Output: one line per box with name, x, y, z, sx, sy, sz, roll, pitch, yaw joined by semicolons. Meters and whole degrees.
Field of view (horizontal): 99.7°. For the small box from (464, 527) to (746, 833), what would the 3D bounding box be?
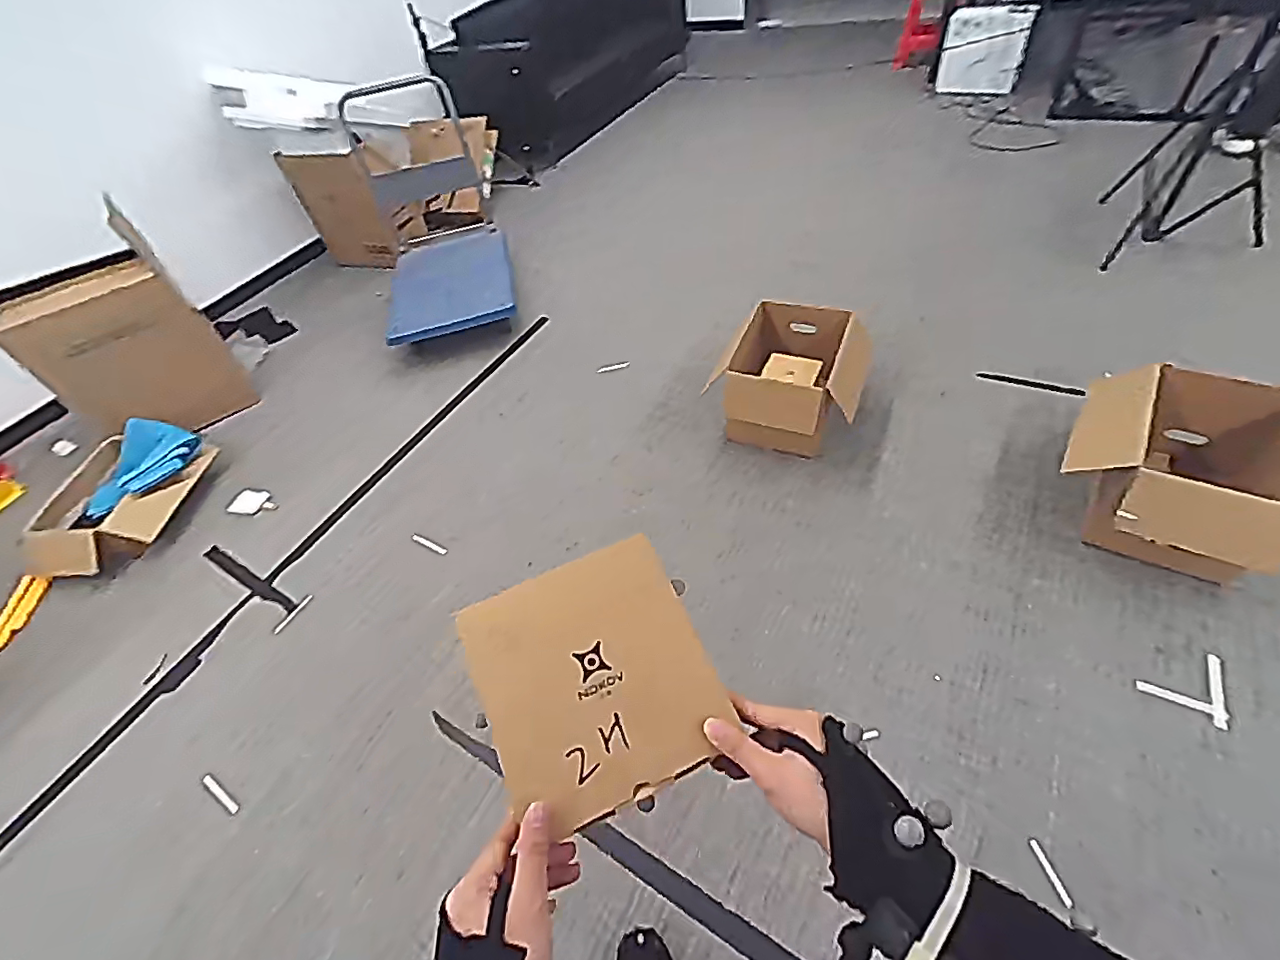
small box;-0.033;0.173;0.474;0.168;0.176;0.179;-22;64;-11
